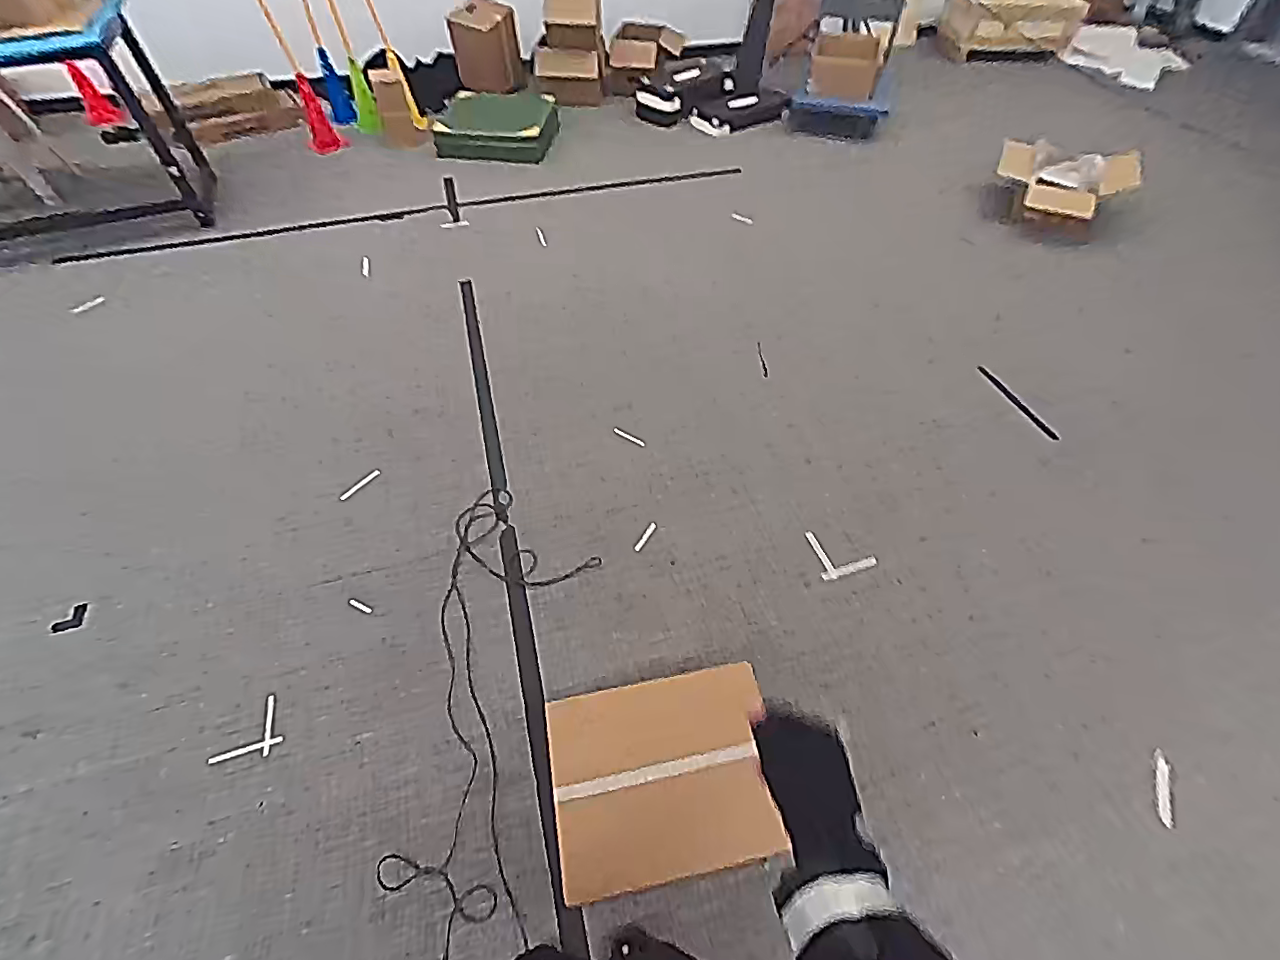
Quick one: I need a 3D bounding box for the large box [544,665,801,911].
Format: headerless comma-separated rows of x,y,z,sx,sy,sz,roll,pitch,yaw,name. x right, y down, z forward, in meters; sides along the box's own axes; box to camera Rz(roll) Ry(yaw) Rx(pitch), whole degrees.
0.042,0.606,1.070,0.408,0.320,0.320,-9,52,-8,large box
